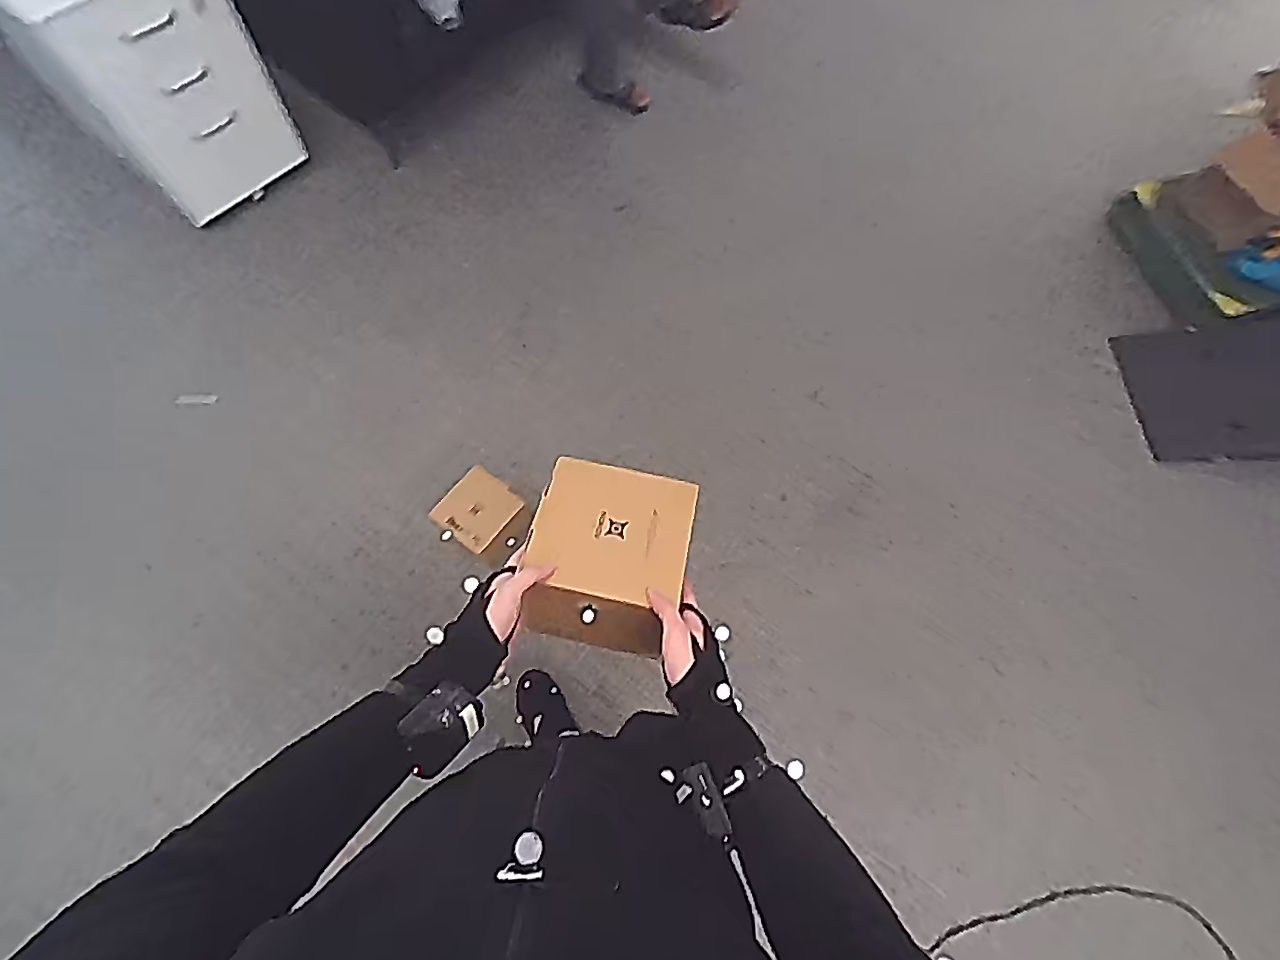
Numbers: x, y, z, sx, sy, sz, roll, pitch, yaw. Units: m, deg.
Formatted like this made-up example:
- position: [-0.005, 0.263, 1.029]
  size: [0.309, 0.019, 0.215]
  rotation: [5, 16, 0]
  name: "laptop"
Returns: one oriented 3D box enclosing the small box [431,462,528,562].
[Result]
- position: [-0.411, 0.089, 1.417]
  size: [0.168, 0.176, 0.179]
  rotation: [38, 71, 6]
  name: "small box"
